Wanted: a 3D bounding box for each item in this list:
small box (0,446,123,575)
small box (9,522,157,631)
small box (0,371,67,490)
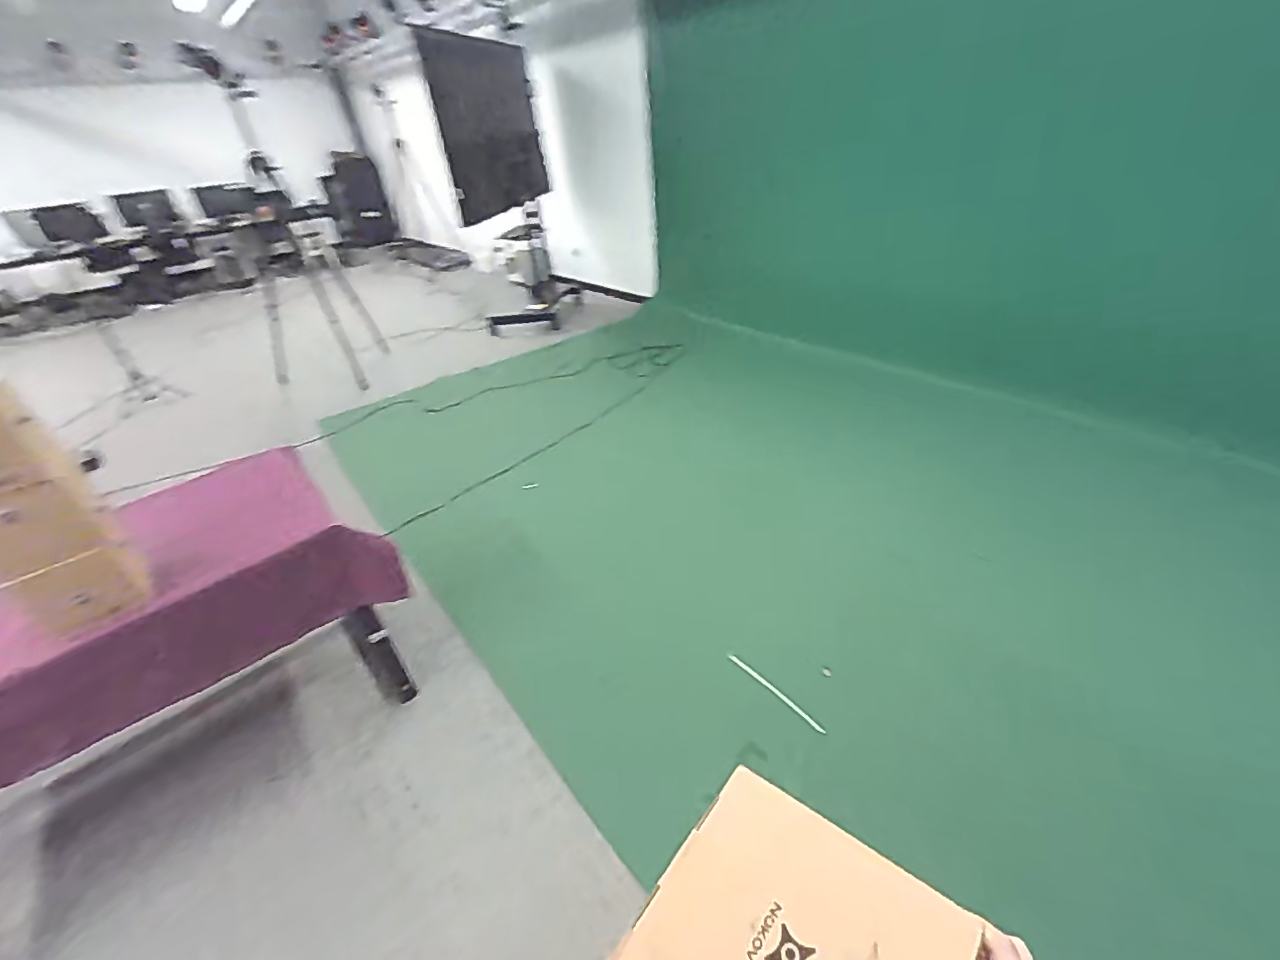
[{"bbox_3d":[-1.203,0.060,1.089,0.179,0.176,0.168,-27,40,-29],"label":"small box"},{"bbox_3d":[-1.194,0.200,1.176,0.168,0.176,0.179,-28,40,-30],"label":"small box"},{"bbox_3d":[-1.223,-0.078,1.002,0.168,0.176,0.179,-27,41,-29],"label":"small box"}]
